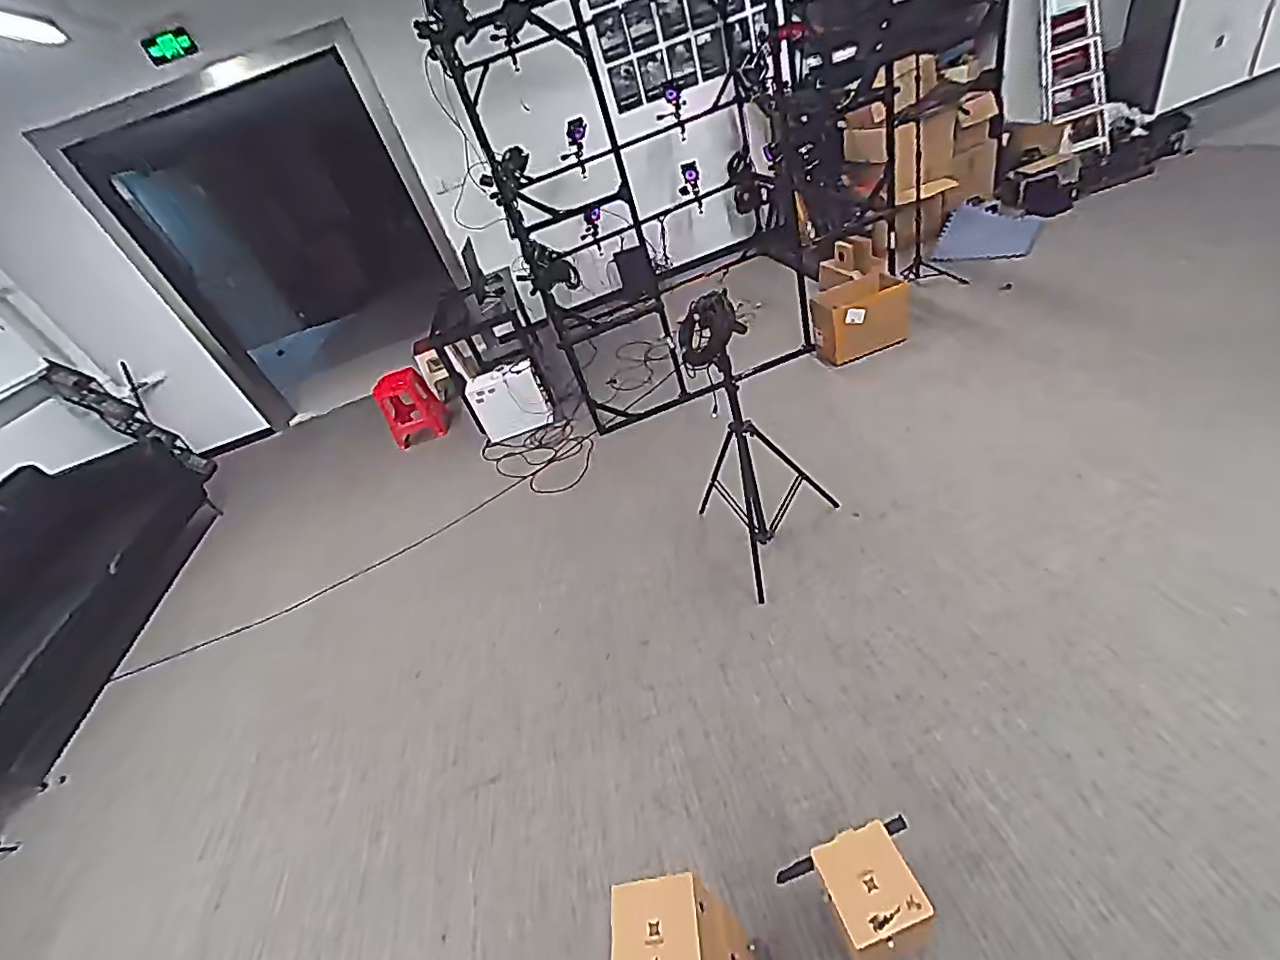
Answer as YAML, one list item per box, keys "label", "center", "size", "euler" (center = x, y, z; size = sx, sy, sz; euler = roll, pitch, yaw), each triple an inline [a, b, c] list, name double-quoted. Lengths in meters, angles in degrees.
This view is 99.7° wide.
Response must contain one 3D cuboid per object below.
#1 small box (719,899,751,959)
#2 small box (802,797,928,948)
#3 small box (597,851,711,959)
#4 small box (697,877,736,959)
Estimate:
- label: "small box"
  center: [0.153, 1.060, 1.172]
  size: [0.168, 0.176, 0.179]
  euler: [-21, 36, 1]
- label: "small box"
  center: [0.449, 0.790, 1.091]
  size: [0.168, 0.176, 0.179]
  euler: [-23, 36, -3]
- label: "small box"
  center: [0.027, 0.818, 0.990]
  size: [0.168, 0.176, 0.179]
  euler: [-16, 37, 9]
- label: "small box"
  center: [0.094, 0.940, 1.080]
  size: [0.168, 0.176, 0.179]
  euler: [-20, 37, 4]
